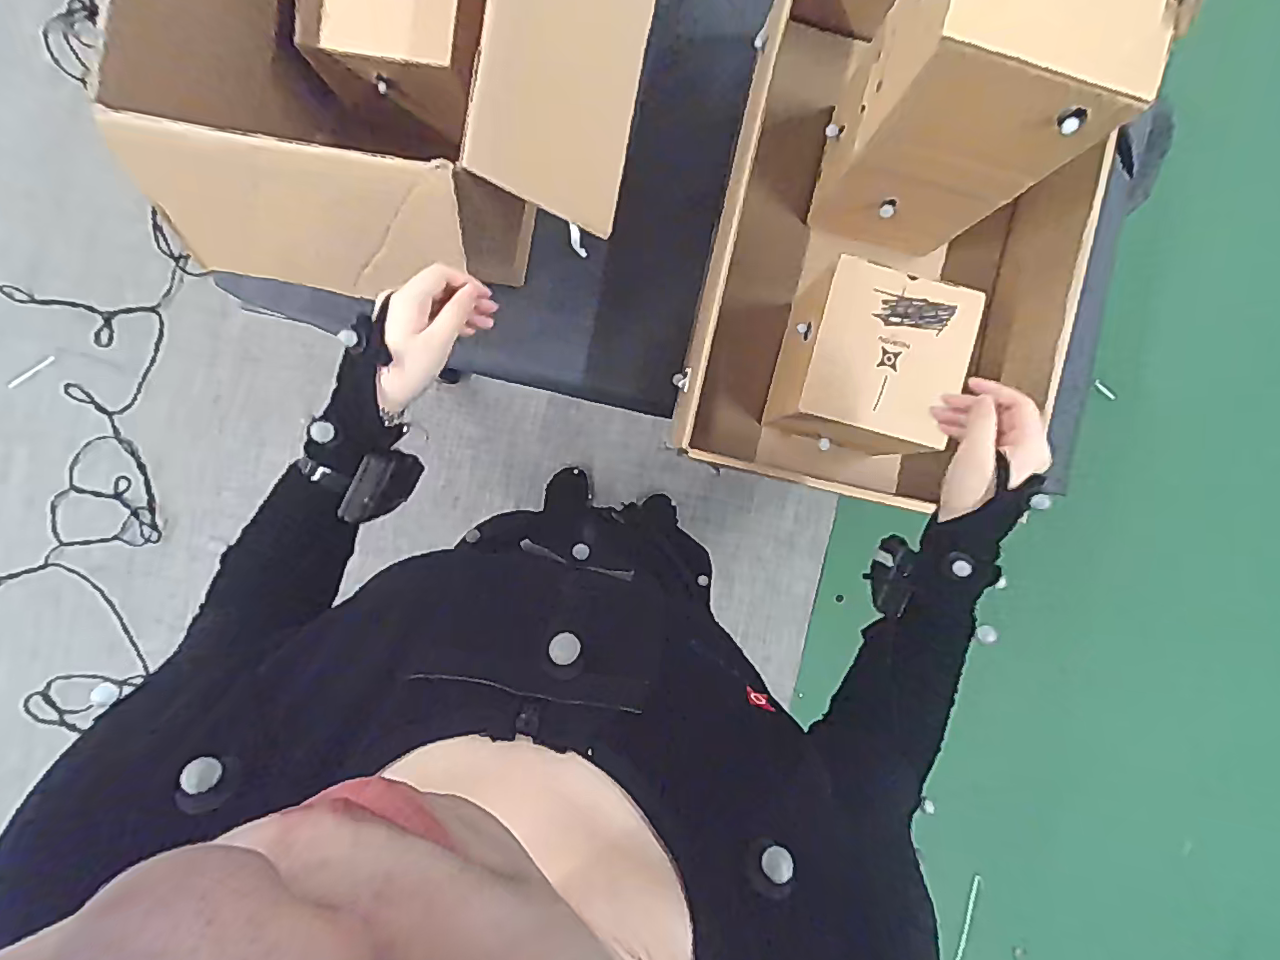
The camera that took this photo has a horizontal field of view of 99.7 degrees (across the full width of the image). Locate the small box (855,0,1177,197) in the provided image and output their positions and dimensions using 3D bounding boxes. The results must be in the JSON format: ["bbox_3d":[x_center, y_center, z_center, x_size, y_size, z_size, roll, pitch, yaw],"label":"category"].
[{"bbox_3d":[0.325,-0.390,0.492,0.179,0.176,0.168,15,93,-3],"label":"small box"}]
